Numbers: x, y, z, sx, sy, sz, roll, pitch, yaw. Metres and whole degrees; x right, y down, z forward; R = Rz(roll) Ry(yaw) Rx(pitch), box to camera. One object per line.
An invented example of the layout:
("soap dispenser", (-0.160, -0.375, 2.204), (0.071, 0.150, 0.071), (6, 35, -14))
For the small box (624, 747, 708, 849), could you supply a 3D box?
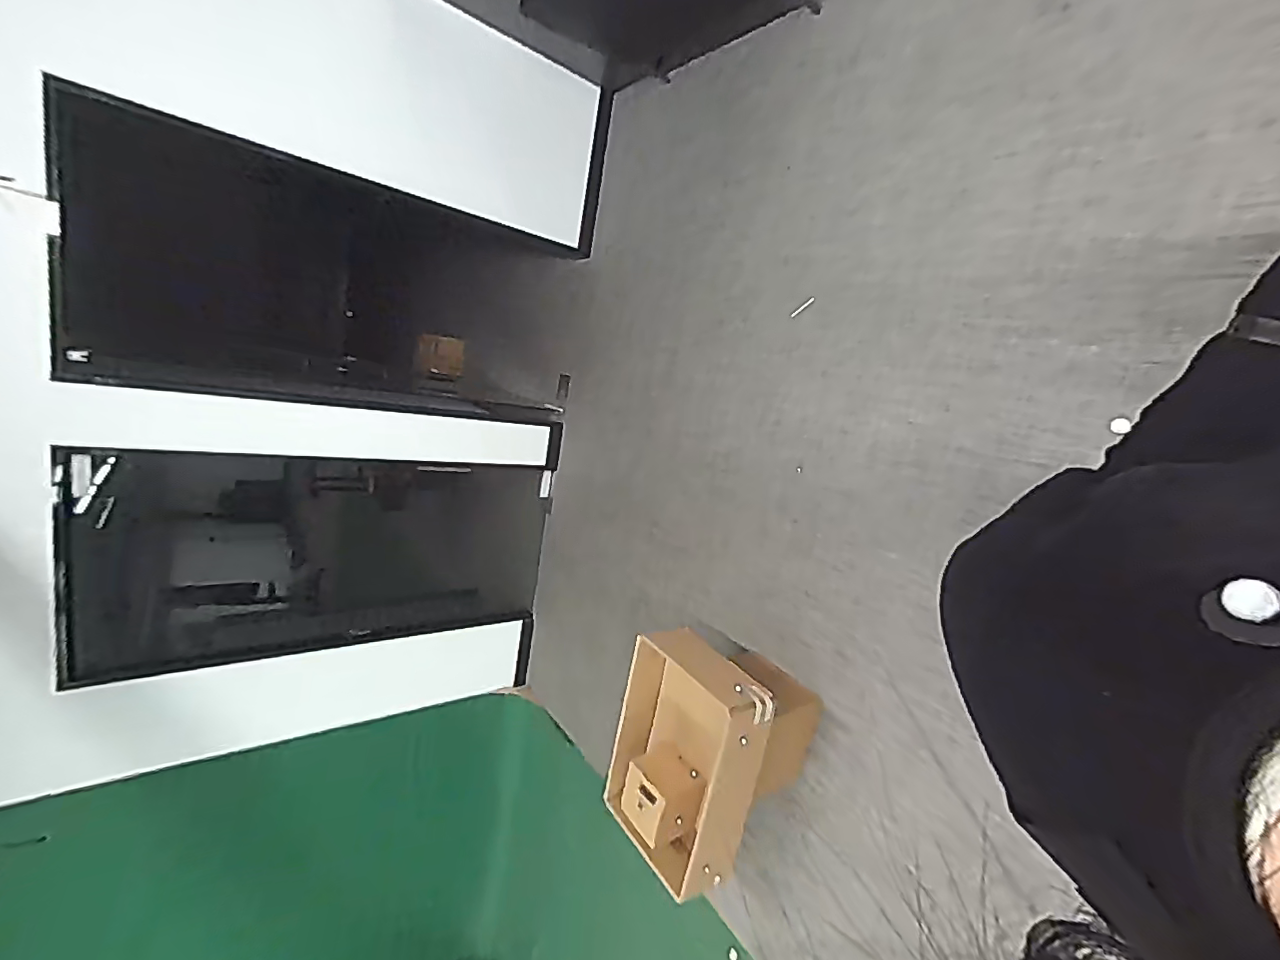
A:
("small box", (0.080, 0.930, 1.600), (0.168, 0.176, 0.179), (28, 110, 50))
